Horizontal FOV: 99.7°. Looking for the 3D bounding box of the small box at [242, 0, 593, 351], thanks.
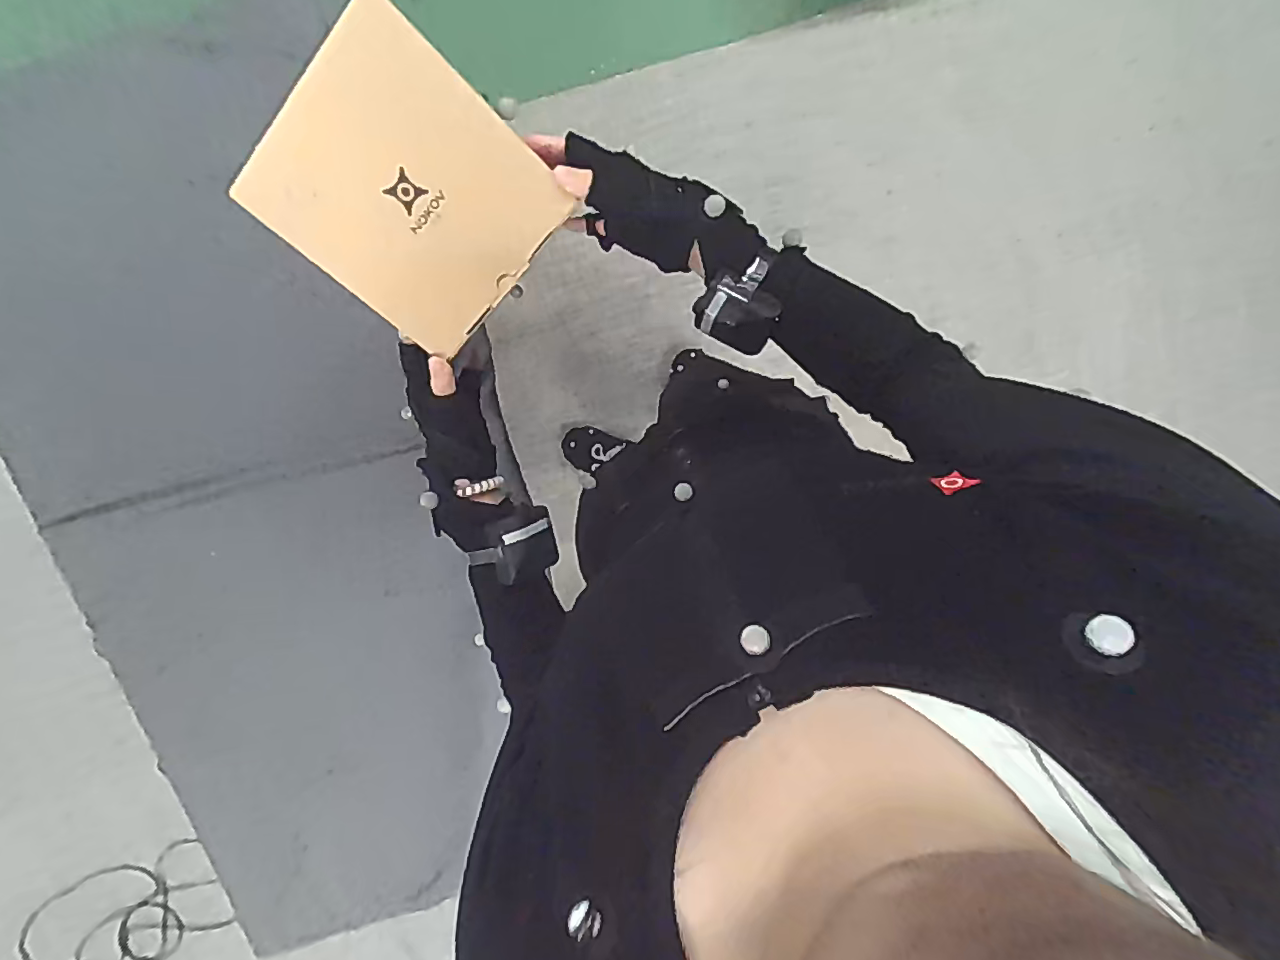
[{"bbox_3d":[-0.163,-0.238,0.448,0.168,0.176,0.179,-45,115,12],"label":"small box"}]
